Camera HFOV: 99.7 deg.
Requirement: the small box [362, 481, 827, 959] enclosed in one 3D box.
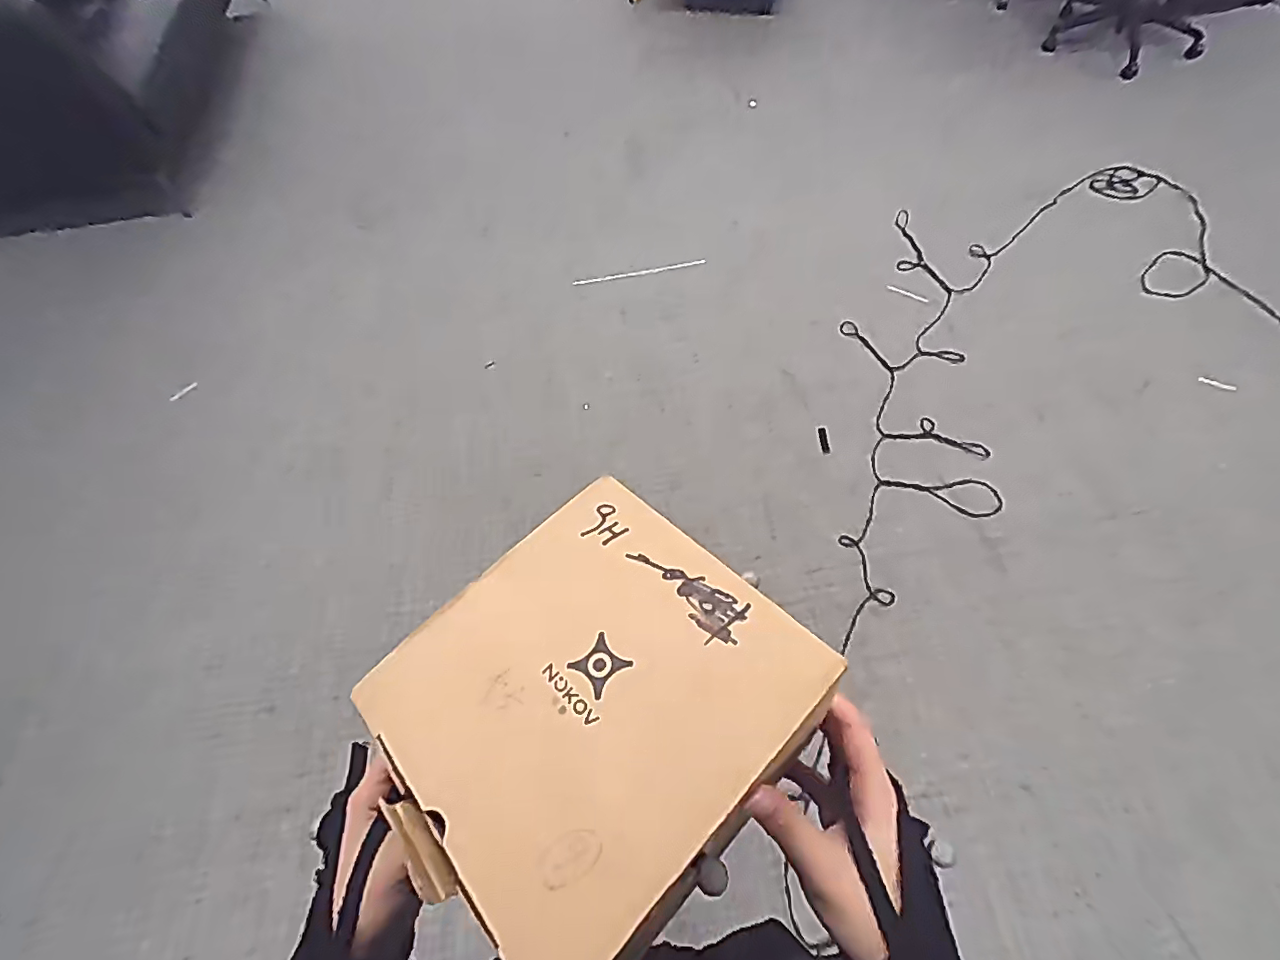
[{"bbox_3d":[-0.014,0.142,0.323,0.179,0.176,0.168,-42,58,-18],"label":"small box"}]
